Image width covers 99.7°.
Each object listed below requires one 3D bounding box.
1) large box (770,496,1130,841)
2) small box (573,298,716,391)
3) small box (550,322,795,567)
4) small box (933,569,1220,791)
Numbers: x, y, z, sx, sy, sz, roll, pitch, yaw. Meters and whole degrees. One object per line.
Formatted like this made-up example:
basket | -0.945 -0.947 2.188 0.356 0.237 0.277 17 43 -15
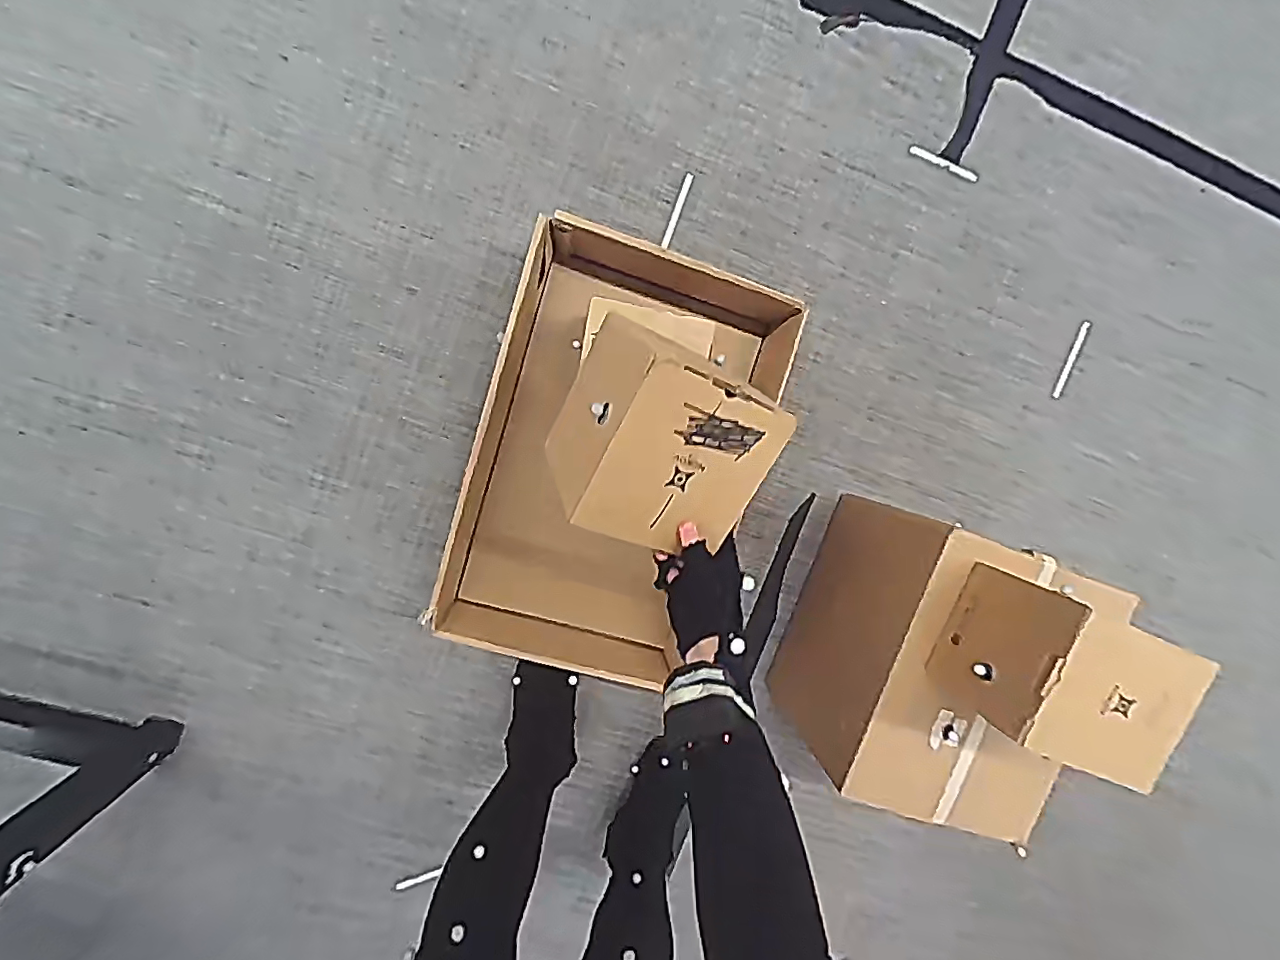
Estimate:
large box | 0.467 0.277 0.897 0.320 0.320 0.408 19 95 -7
small box | -0.005 -0.158 0.809 0.179 0.176 0.168 10 96 -8
small box | 0.018 -0.042 0.565 0.168 0.176 0.179 20 111 -27
small box | 0.497 0.222 0.647 0.179 0.176 0.168 22 96 -8
